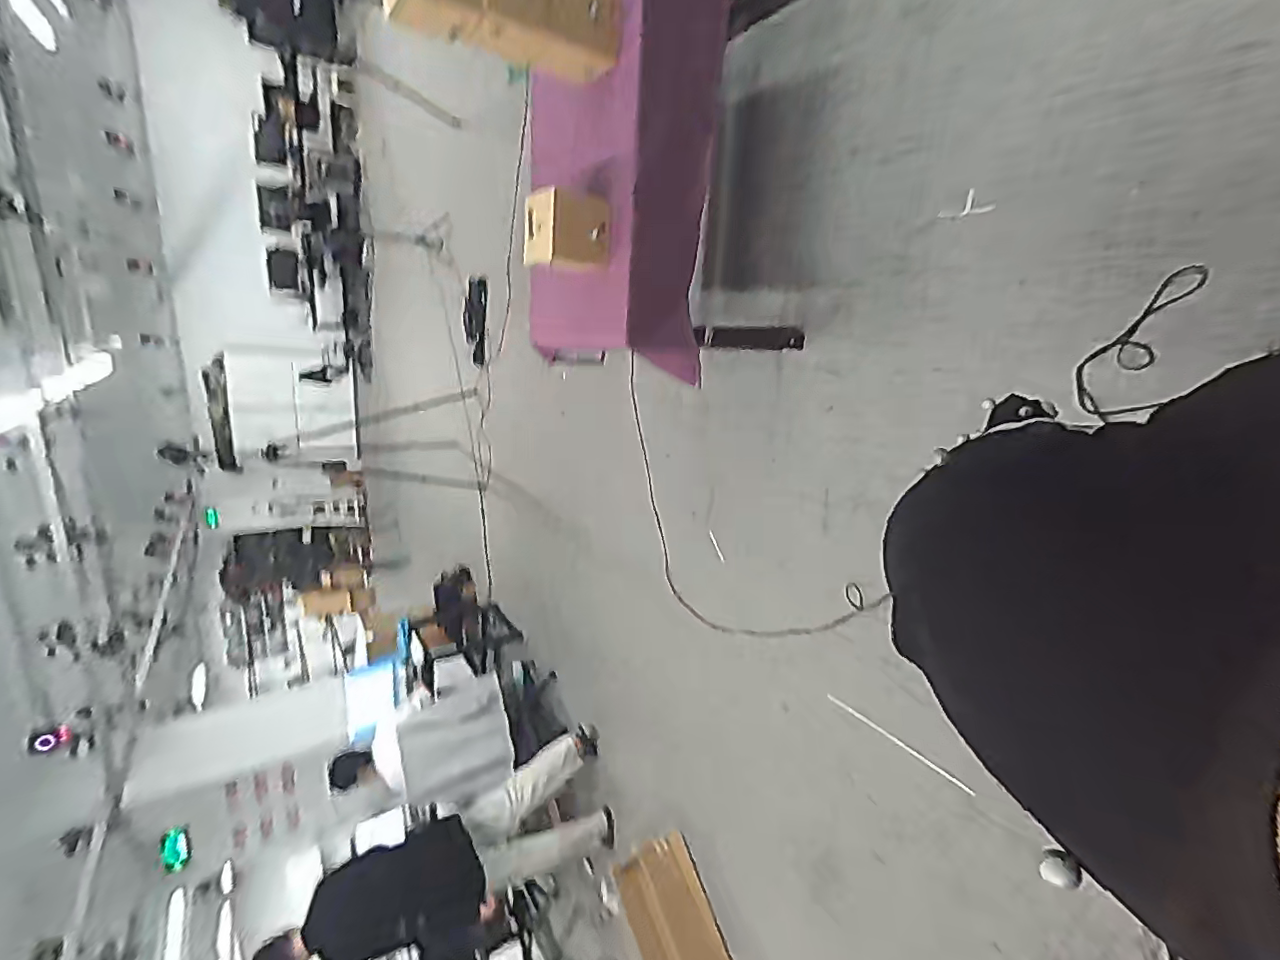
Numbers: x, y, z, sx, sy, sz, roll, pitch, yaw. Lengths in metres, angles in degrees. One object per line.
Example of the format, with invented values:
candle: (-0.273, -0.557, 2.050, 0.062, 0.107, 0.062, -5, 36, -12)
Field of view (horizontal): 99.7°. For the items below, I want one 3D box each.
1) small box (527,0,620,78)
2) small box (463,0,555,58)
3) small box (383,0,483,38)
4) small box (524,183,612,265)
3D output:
small box: (-0.162, -1.117, 1.310, 0.179, 0.176, 0.168, 23, 114, 50)
small box: (-0.297, -1.097, 1.216, 0.179, 0.176, 0.168, 23, 114, 51)
small box: (-0.434, -1.079, 1.128, 0.168, 0.176, 0.179, 24, 116, 52)
small box: (-0.193, -0.667, 1.429, 0.179, 0.176, 0.168, 25, 116, 50)
